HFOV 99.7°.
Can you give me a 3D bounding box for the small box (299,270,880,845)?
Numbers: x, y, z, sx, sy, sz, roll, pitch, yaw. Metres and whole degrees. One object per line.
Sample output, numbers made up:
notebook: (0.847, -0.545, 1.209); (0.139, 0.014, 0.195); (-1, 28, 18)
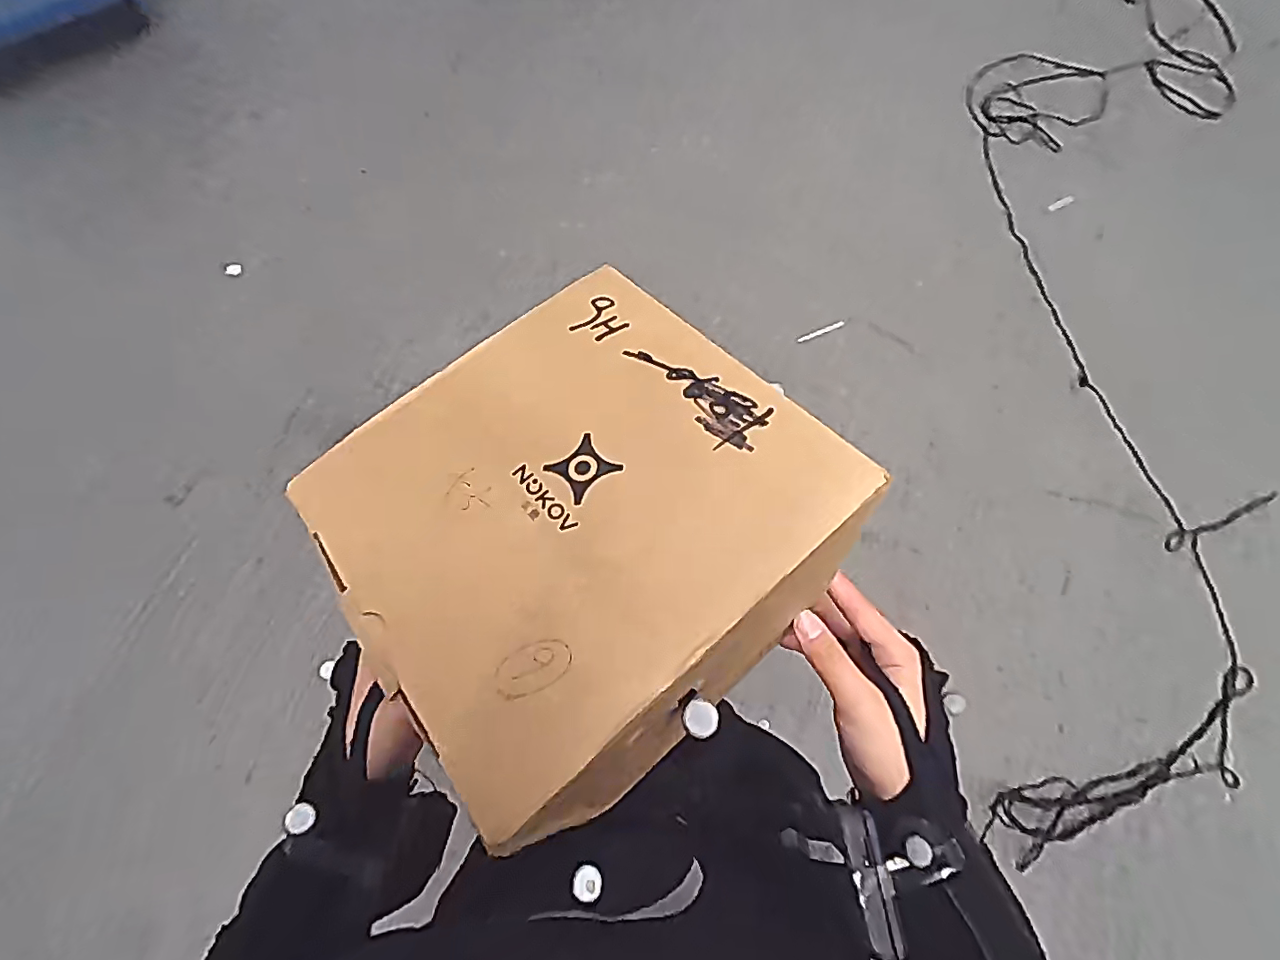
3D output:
small box: (-0.016, 0.040, 0.277); (0.179, 0.176, 0.168); (-40, 64, -11)
